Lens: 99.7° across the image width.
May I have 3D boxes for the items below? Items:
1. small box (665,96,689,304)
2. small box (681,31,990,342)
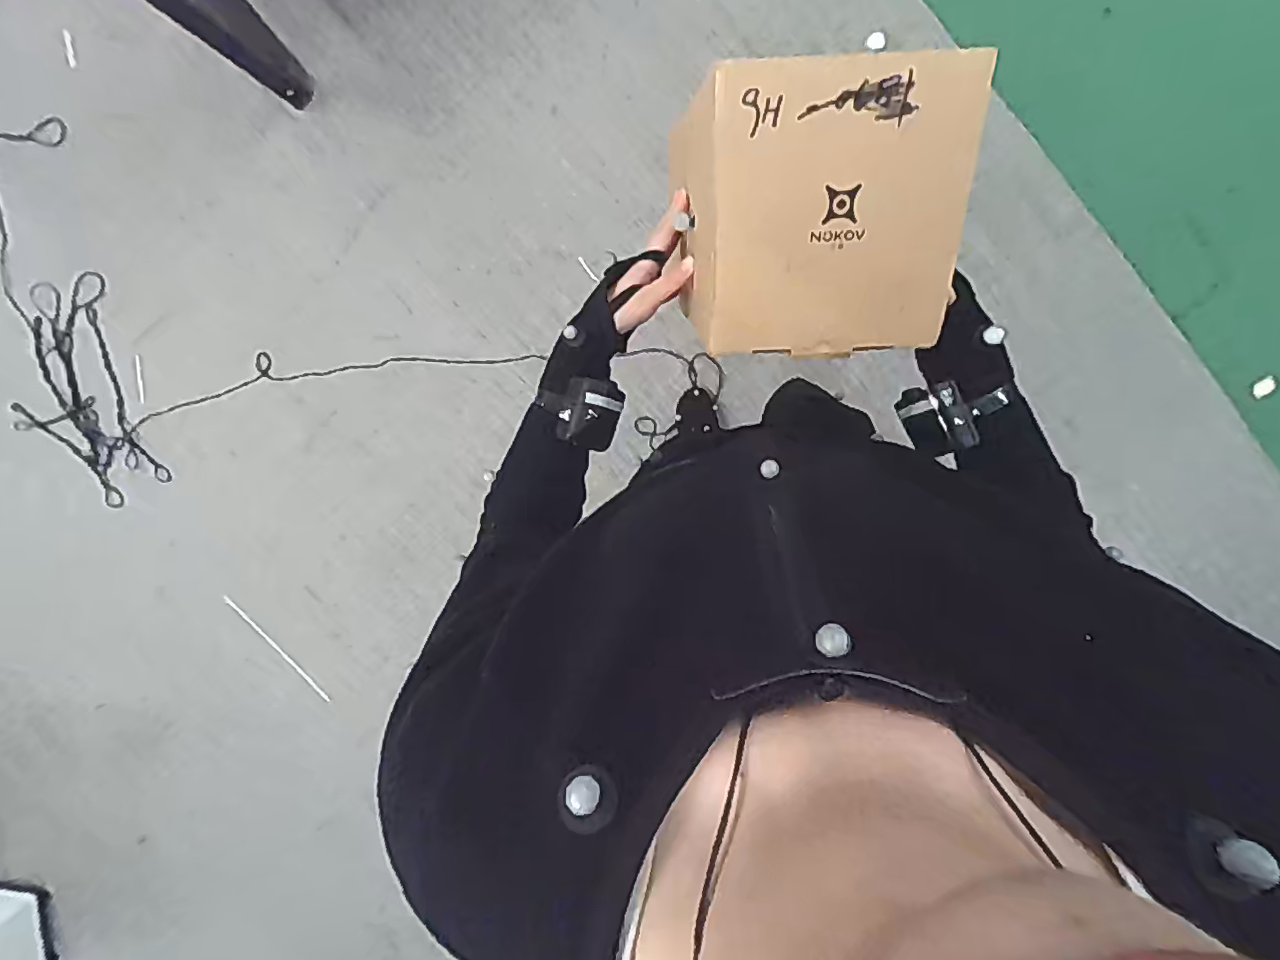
[{"bbox_3d":[0.115,-0.288,0.569,0.168,0.176,0.179,-2,117,-2],"label":"small box"},{"bbox_3d":[0.122,-0.215,0.419,0.168,0.176,0.179,-2,117,0],"label":"small box"}]
